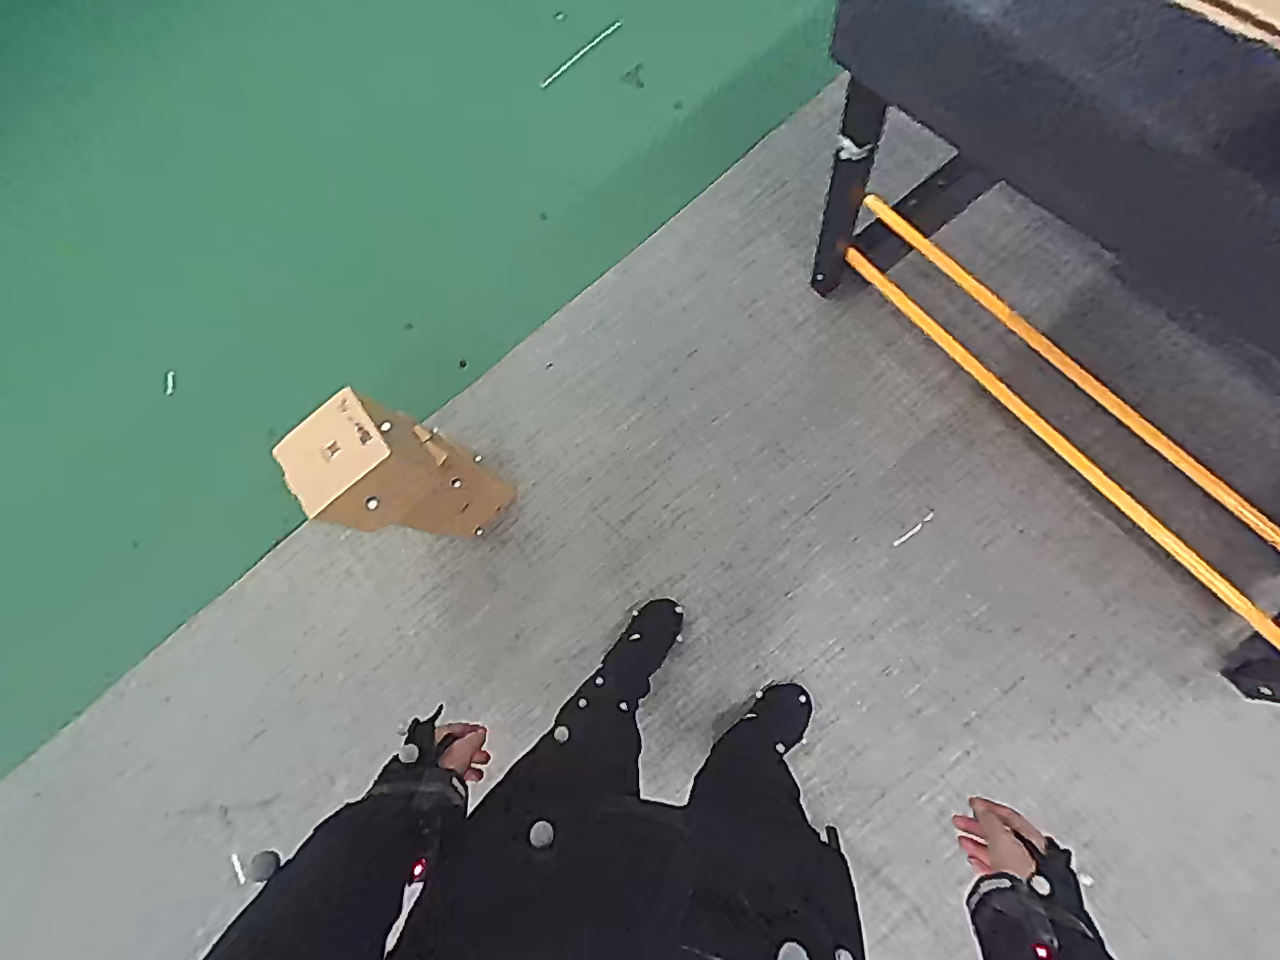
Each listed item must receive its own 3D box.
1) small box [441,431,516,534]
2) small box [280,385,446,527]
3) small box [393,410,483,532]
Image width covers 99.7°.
[{"bbox_3d":[-0.433,0.015,1.306,0.179,0.176,0.168,41,87,18],"label":"small box"},{"bbox_3d":[-0.496,-0.033,0.987,0.179,0.176,0.168,-40,72,1],"label":"small box"},{"bbox_3d":[-0.462,-0.012,1.148,0.168,0.176,0.179,38,87,19],"label":"small box"}]
